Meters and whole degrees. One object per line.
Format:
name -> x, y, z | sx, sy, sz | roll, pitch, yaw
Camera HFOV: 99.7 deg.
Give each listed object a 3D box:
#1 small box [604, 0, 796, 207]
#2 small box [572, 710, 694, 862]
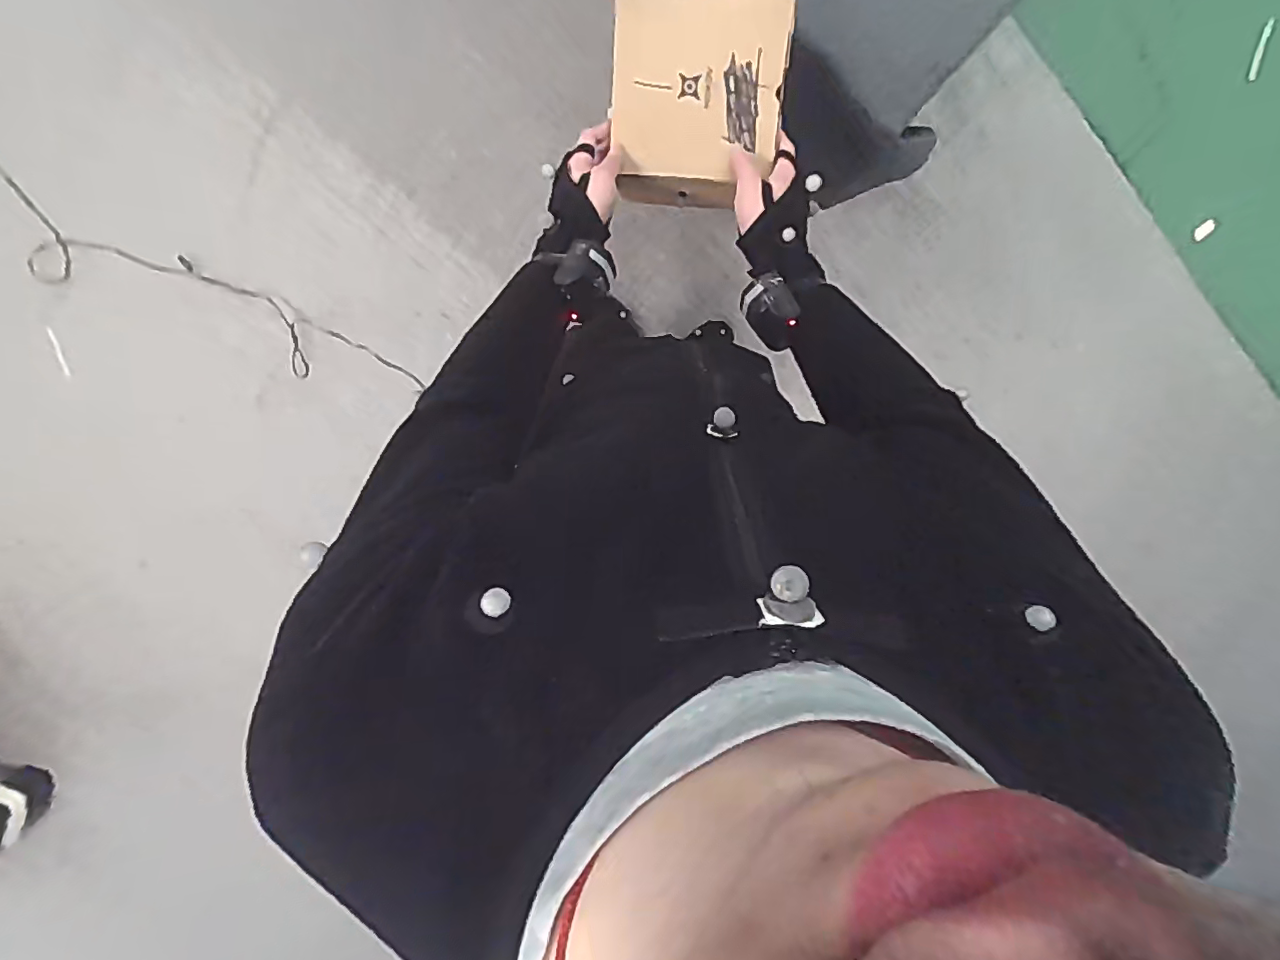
small box -> 0.057, -0.414, 0.607 | 0.179, 0.176, 0.168 | 4, 107, 1
small box -> -0.012, 0.614, 1.097 | 0.168, 0.176, 0.179 | 43, 104, -14
